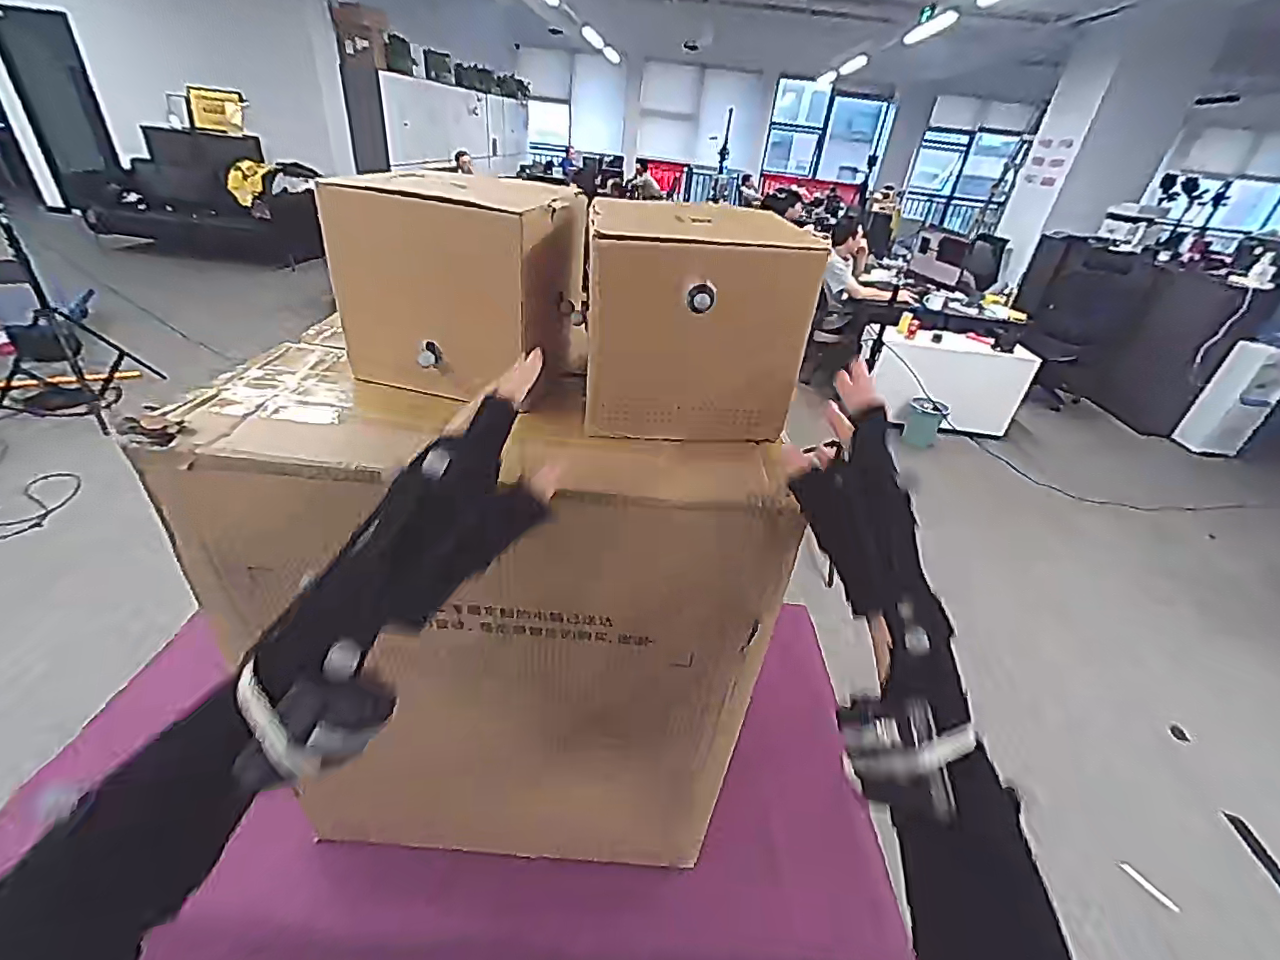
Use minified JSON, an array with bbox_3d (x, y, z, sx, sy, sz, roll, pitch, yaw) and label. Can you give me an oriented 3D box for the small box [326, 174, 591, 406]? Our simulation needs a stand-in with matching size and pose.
[{"bbox_3d":[-0.159,-0.187,0.527,0.179,0.176,0.168,12,32,6],"label":"small box"}]
